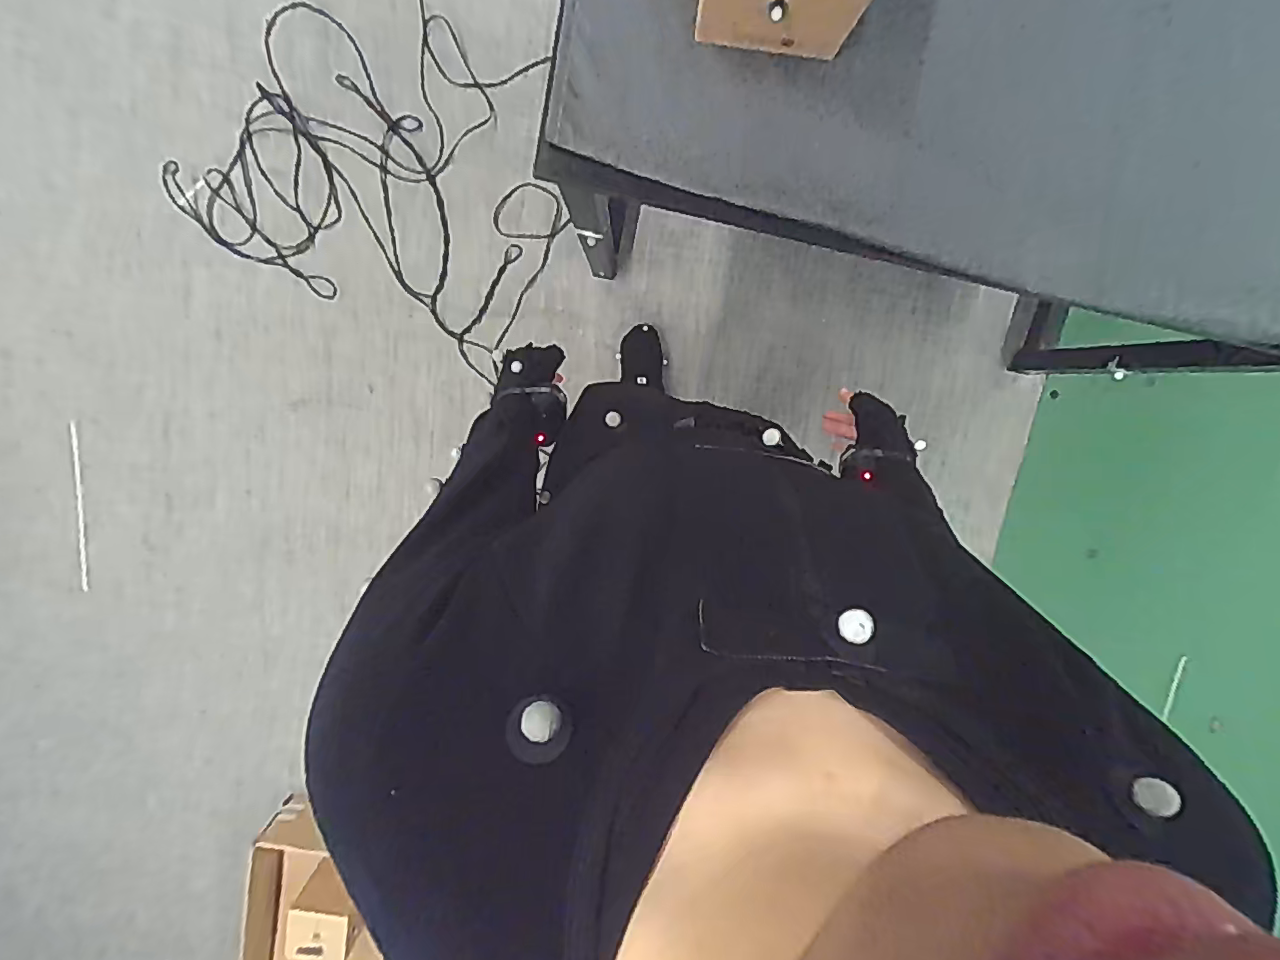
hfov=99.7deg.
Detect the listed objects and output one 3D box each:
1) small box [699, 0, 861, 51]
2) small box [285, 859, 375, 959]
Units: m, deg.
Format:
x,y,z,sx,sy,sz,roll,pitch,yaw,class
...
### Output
x,y,z,sx,sy,sz,roll,pitch,yaw,class
0.156,-0.572,0.534,0.168,0.176,0.179,5,100,-3,small box
-0.885,1.245,1.556,0.168,0.176,0.179,10,101,-2,small box
